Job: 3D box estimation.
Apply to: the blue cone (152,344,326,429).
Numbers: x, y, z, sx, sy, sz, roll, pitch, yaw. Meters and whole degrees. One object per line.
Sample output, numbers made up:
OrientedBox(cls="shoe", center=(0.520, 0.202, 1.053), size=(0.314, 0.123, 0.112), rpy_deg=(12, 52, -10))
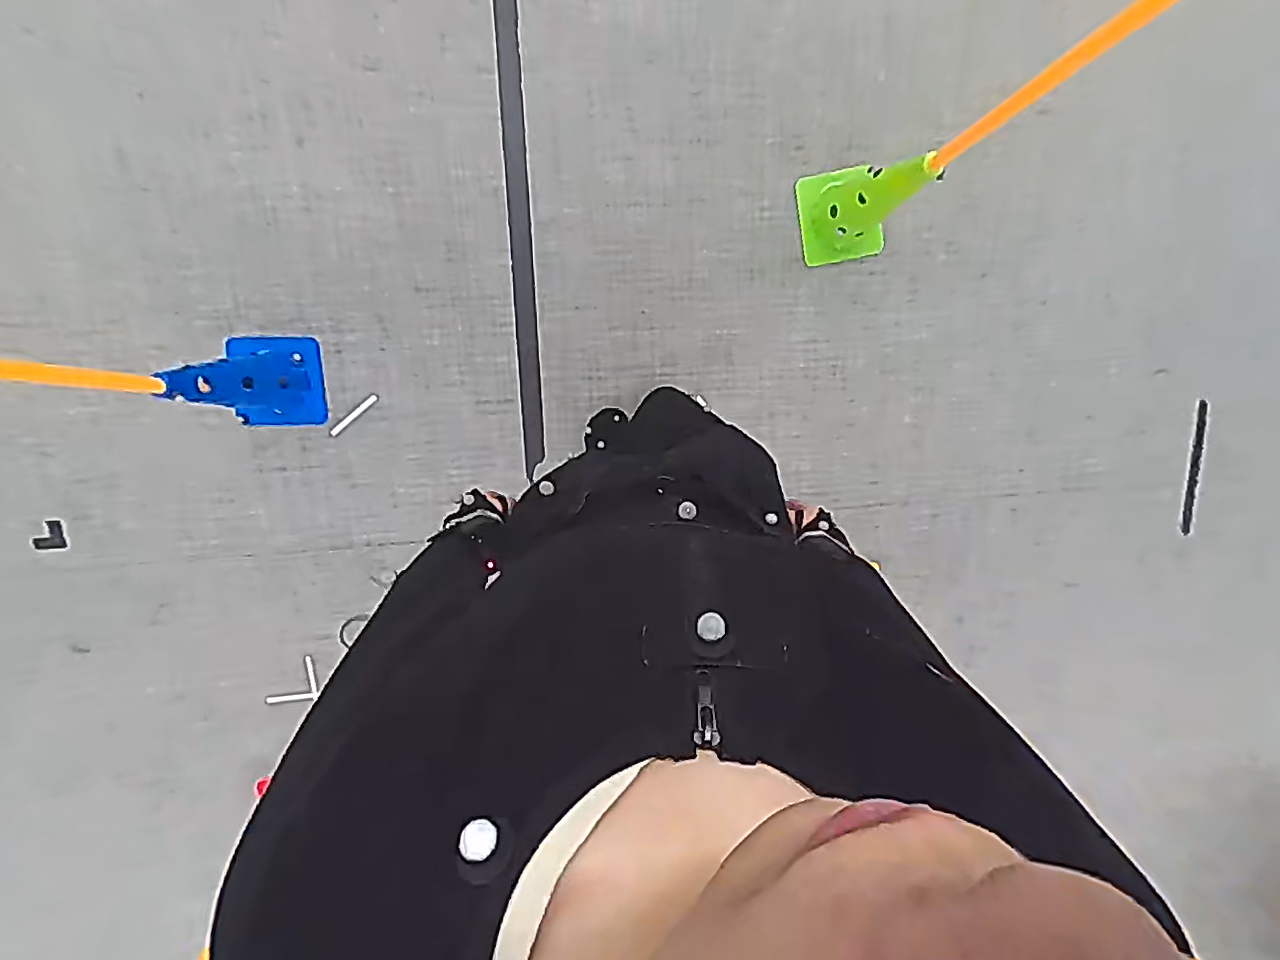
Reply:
OrientedBox(cls="blue cone", center=(-0.809, -0.178, 1.072), size=(0.193, 0.380, 0.192), rpy_deg=(0, 102, -6))

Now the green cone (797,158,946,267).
OrientedBox(cls="green cone", center=(0.493, -0.585, 1.115), size=(0.200, 0.368, 0.202), rpy_deg=(-13, 104, -3))
